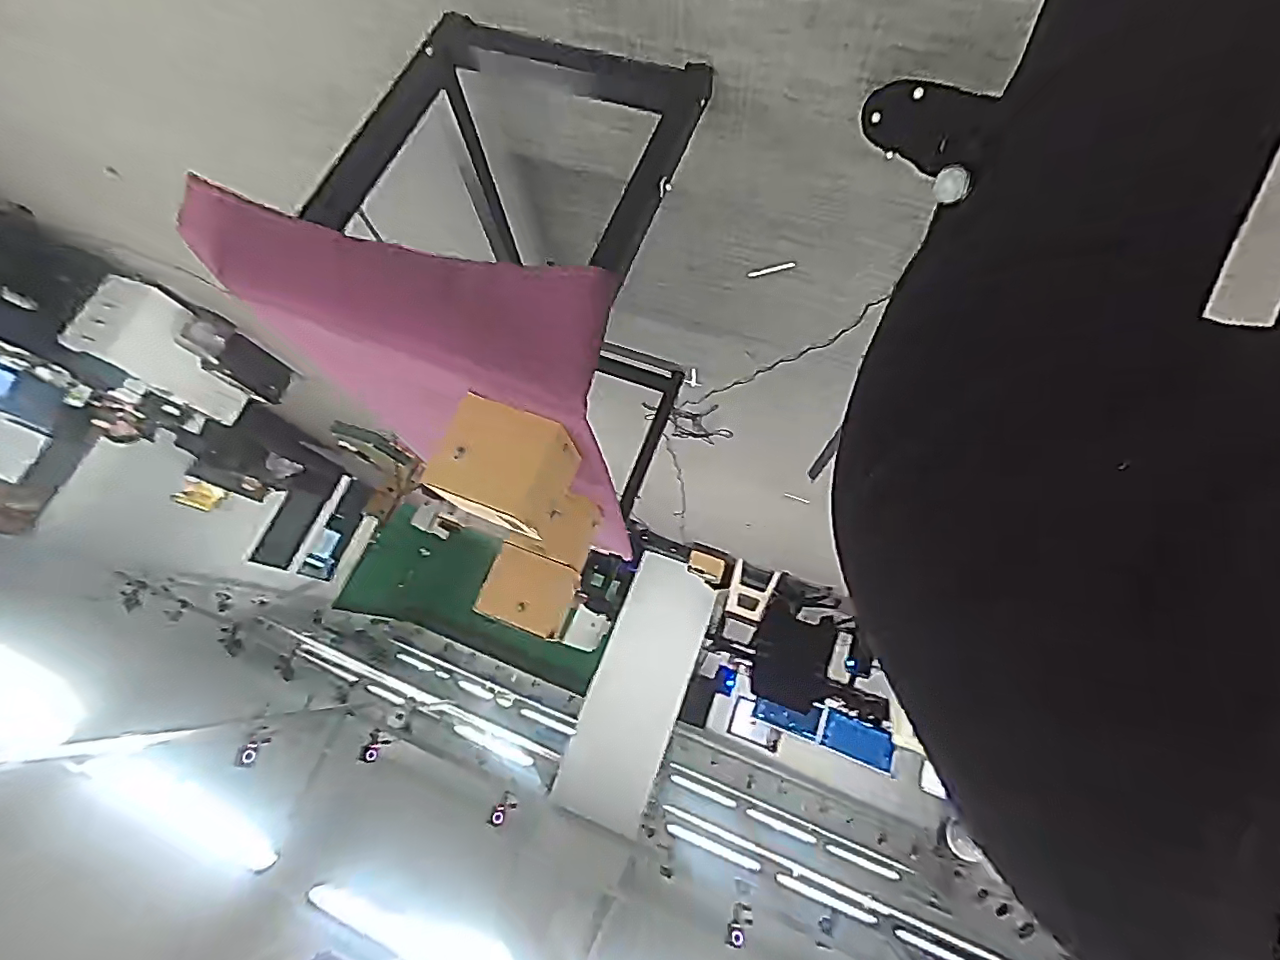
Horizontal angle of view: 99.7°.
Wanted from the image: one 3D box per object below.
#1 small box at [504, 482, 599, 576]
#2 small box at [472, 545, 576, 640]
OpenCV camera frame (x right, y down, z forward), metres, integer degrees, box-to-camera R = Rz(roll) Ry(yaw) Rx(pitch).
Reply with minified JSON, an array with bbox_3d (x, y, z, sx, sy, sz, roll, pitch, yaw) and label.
[{"bbox_3d":[-0.211,0.121,1.338,0.168,0.176,0.179,19,163,8],"label":"small box"},{"bbox_3d":[-0.264,0.269,1.288,0.179,0.176,0.168,20,164,8],"label":"small box"}]
